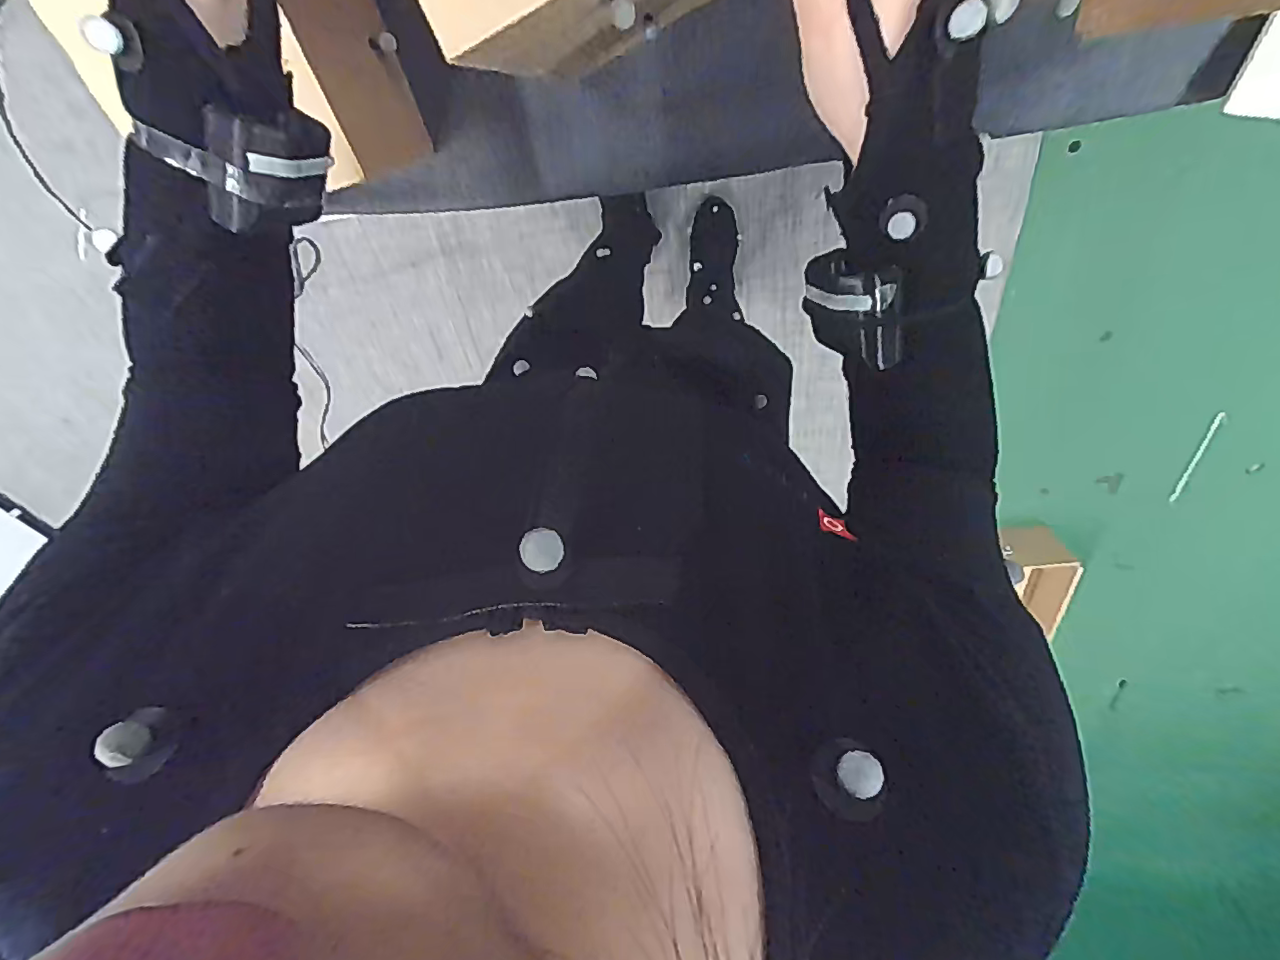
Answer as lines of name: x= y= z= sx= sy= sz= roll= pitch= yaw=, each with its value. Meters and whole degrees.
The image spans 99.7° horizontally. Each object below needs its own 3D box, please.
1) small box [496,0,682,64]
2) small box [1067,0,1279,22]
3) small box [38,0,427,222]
small box: x=-0.030 y=-0.422 z=0.376 sx=0.179 sy=0.176 sz=0.168 roll=-20 pitch=123 yaw=16
small box: x=0.341 y=-0.319 z=0.228 sx=0.179 sy=0.176 sz=0.168 roll=-6 pitch=126 yaw=8
small box: x=-0.312 y=-0.341 z=0.451 sx=0.168 sy=0.176 sz=0.179 roll=-10 pitch=126 yaw=10
